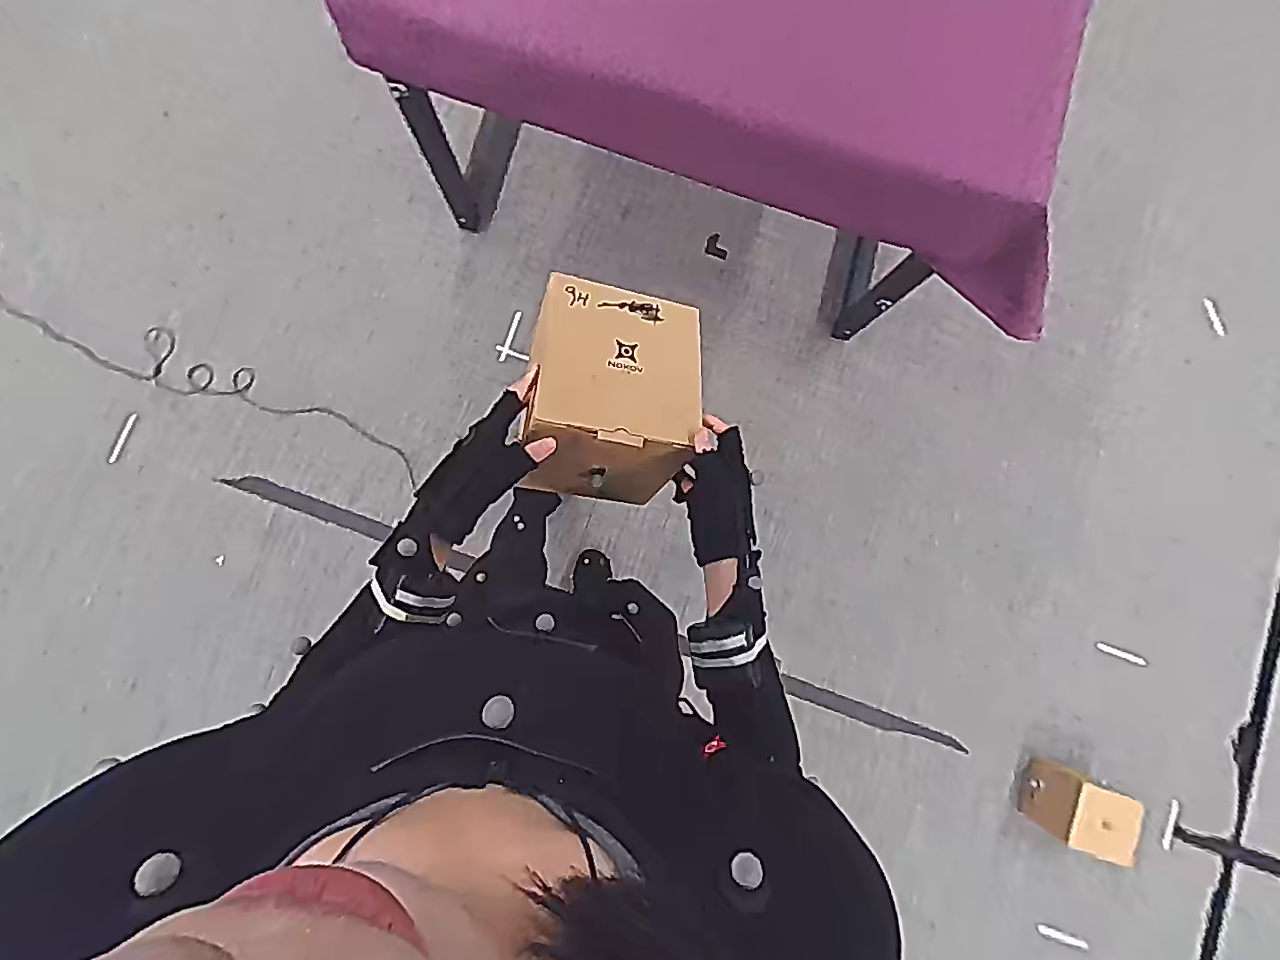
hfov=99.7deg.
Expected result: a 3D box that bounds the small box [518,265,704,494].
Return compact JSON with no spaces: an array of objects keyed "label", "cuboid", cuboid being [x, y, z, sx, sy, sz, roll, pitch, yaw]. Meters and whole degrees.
[{"label":"small box","cuboid":[-0.038,-0.096,0.602,0.168,0.176,0.179,10,67,-16]}]

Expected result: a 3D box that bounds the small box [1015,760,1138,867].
[{"label":"small box","cuboid":[1.167,0.886,1.456,0.179,0.176,0.168,20,83,-1]}]
